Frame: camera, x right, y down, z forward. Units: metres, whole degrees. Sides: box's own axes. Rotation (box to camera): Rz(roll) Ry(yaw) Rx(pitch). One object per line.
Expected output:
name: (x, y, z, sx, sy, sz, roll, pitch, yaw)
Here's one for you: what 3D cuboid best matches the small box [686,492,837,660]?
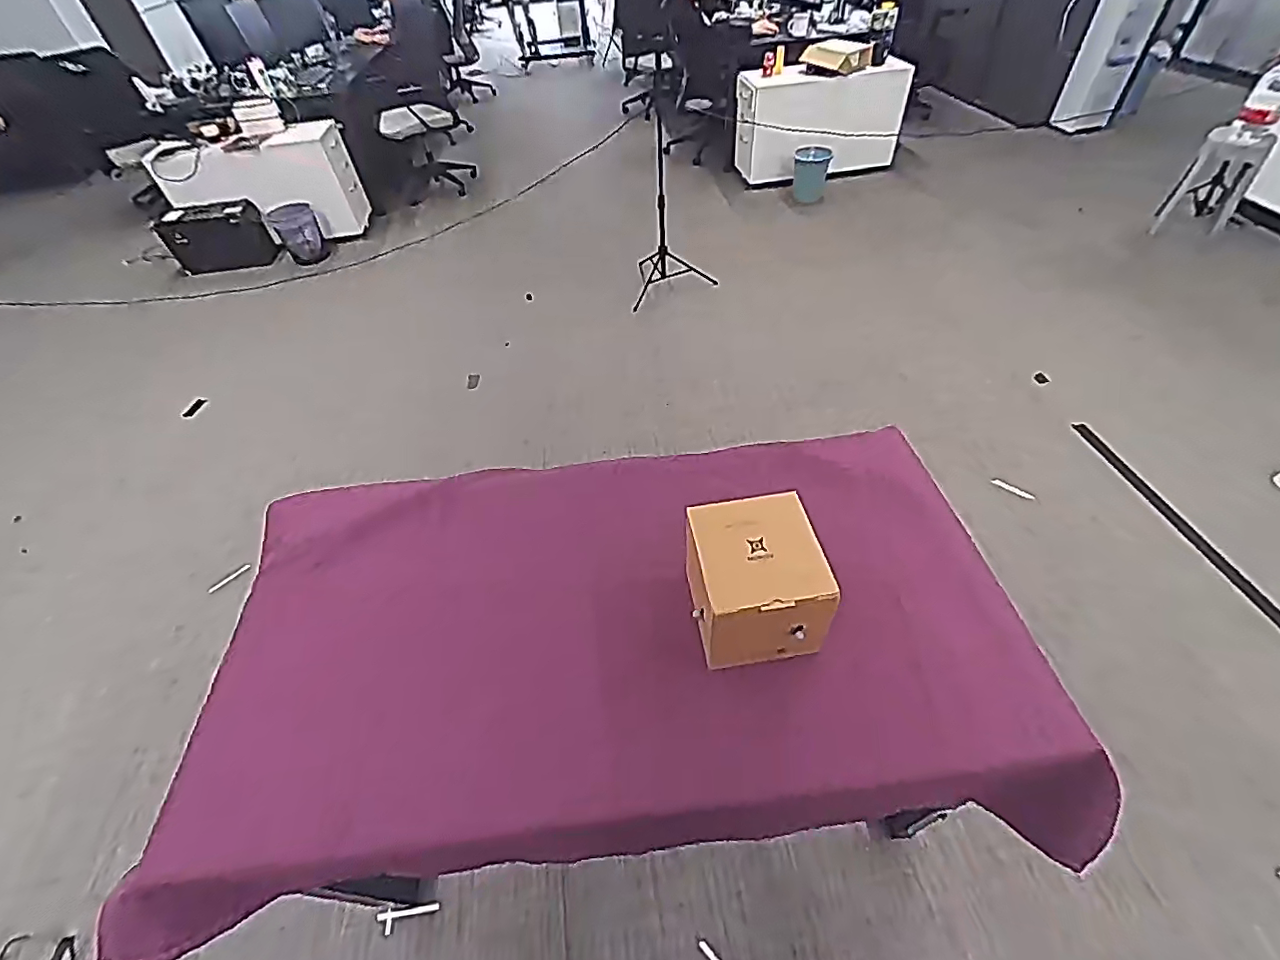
small box: (0.163, 0.146, 0.785, 0.168, 0.176, 0.179, -8, 48, -3)
